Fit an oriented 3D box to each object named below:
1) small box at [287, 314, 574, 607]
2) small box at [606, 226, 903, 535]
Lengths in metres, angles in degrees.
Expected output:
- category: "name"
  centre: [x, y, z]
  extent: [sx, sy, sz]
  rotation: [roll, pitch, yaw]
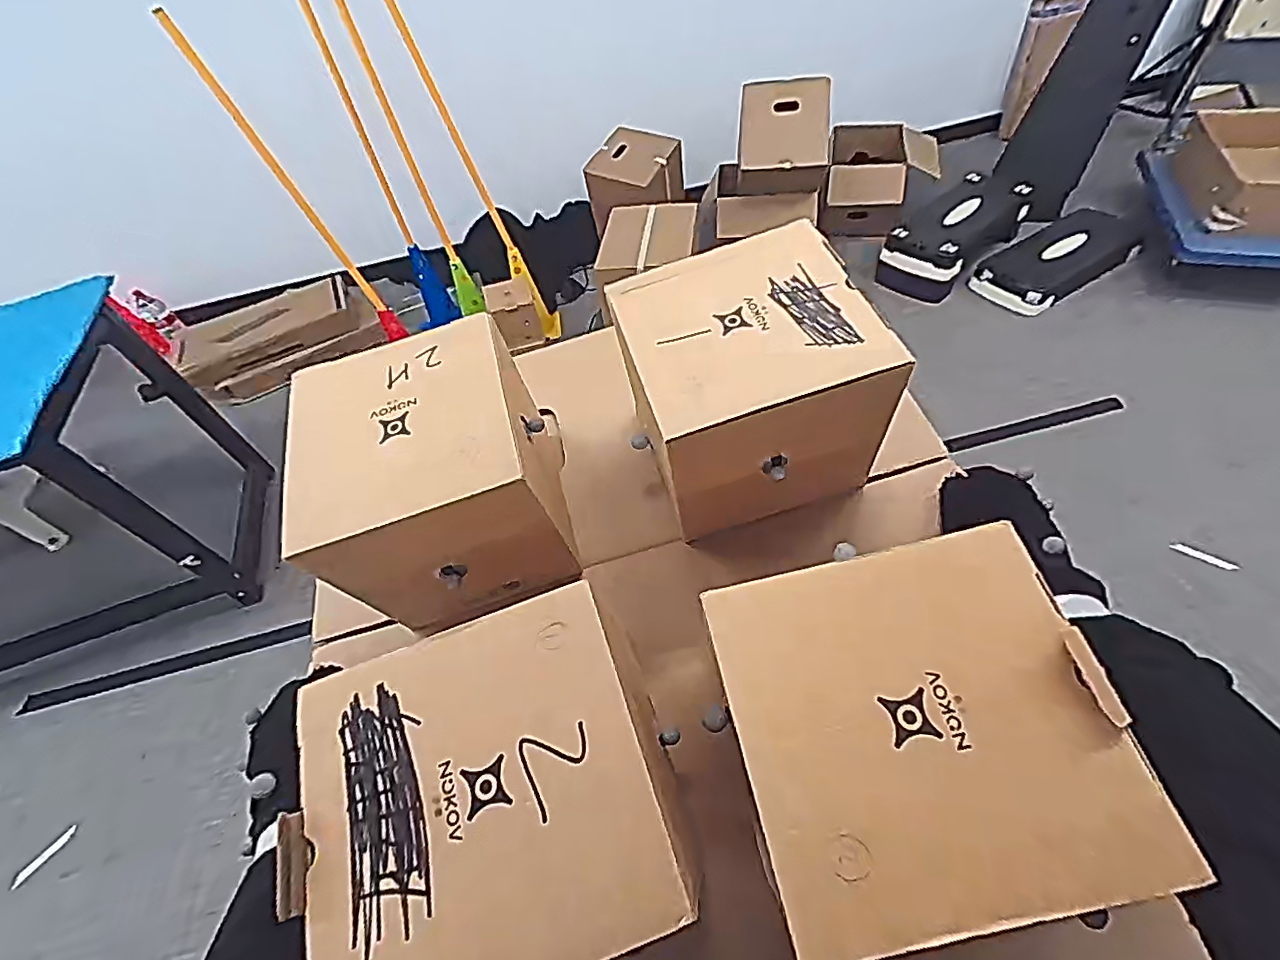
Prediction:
- category: "small box"
  centre: [-0.166, -0.004, 0.470]
  extent: [0.168, 0.176, 0.179]
  rotation: [-18, 58, -1]
- category: "small box"
  centre: [0.086, -0.076, 0.466]
  extent: [0.179, 0.176, 0.168]
  rotation: [-18, 59, 0]
